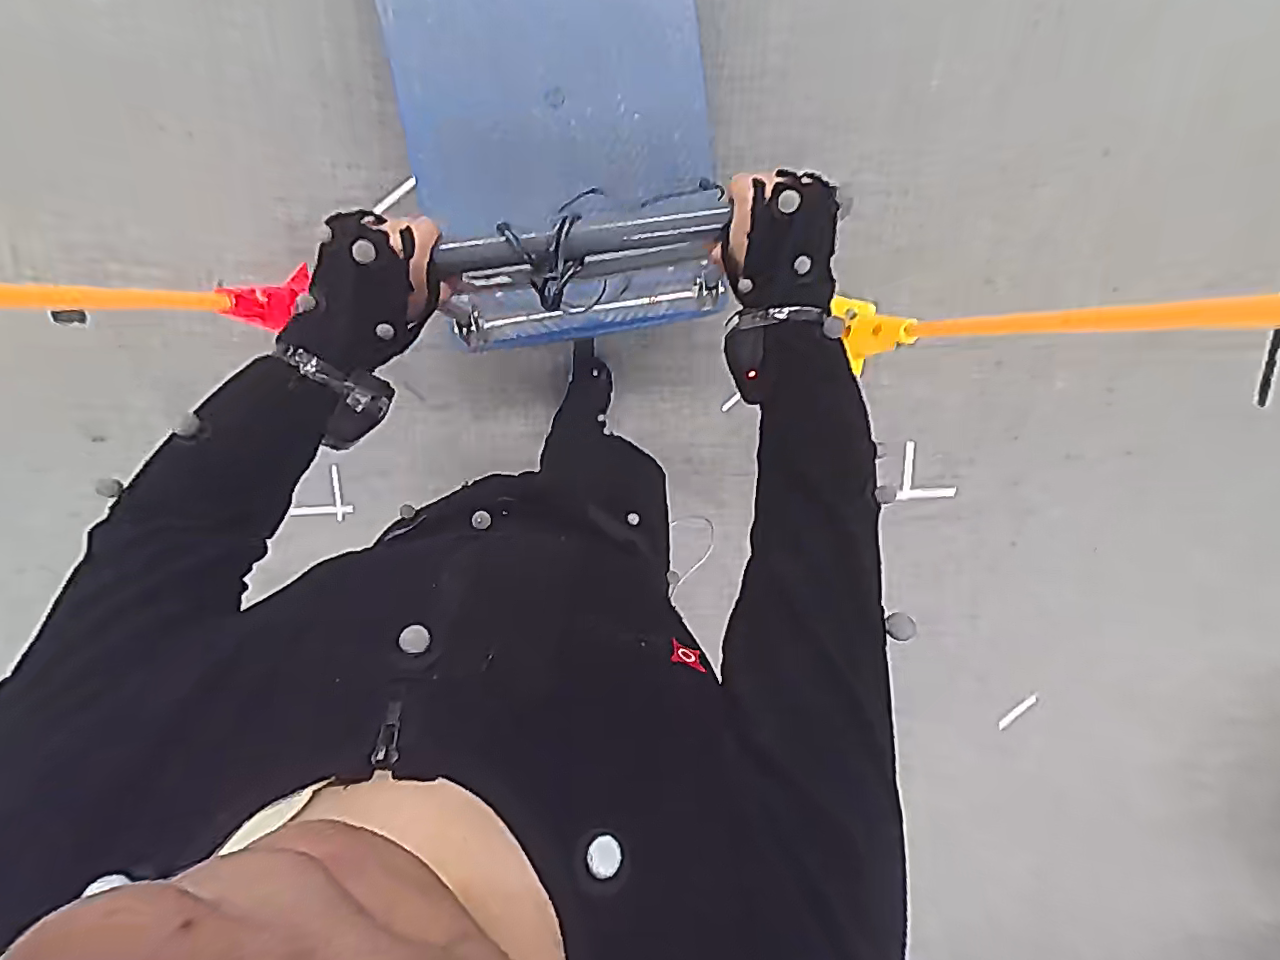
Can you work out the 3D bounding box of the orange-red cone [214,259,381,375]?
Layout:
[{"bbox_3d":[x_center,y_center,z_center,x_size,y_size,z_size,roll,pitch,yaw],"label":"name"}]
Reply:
[{"bbox_3d":[-0.696,-0.328,1.050,0.199,0.360,0.198,-44,104,4],"label":"orange-red cone"}]
